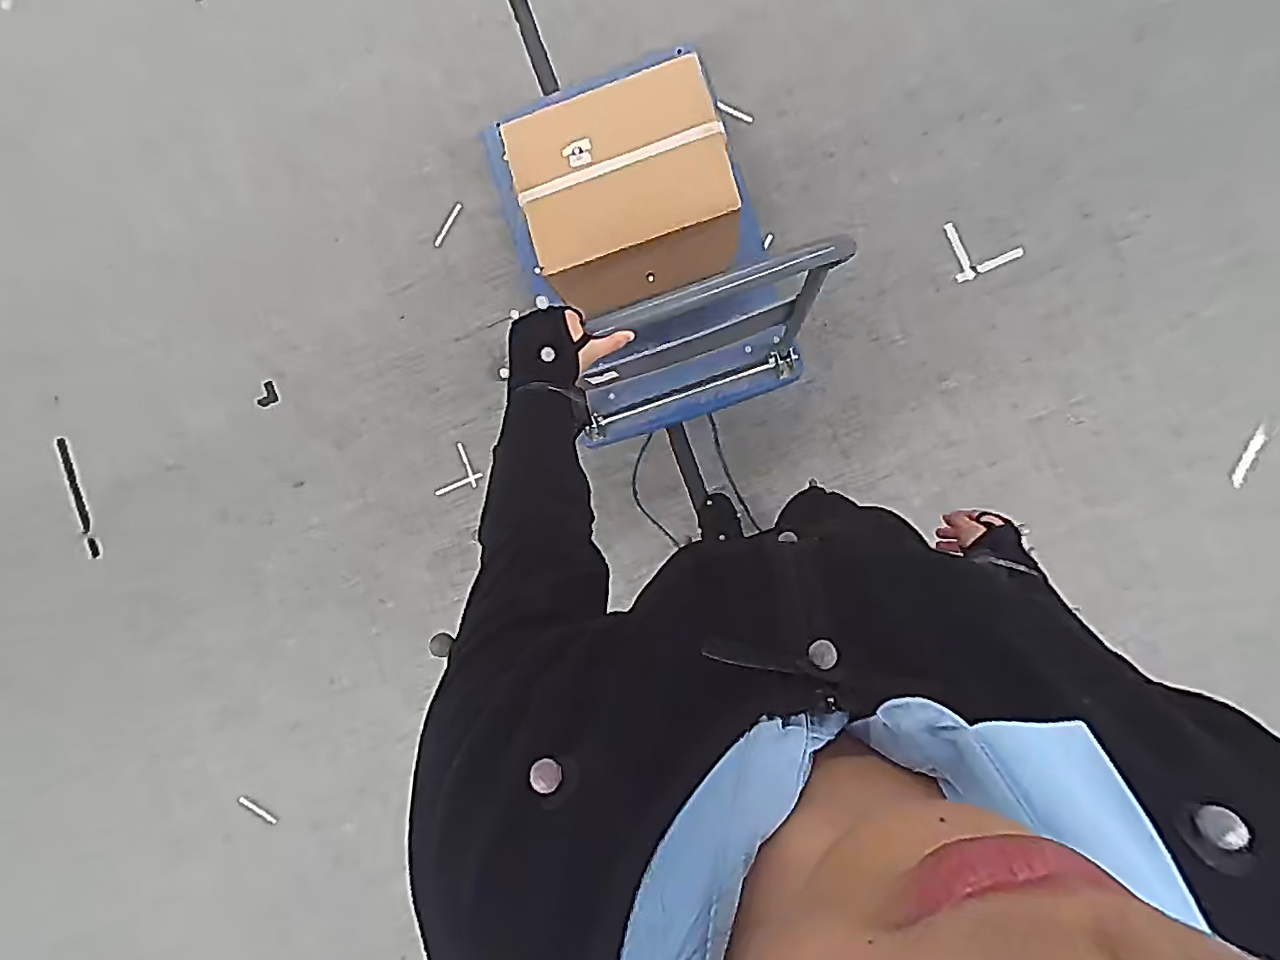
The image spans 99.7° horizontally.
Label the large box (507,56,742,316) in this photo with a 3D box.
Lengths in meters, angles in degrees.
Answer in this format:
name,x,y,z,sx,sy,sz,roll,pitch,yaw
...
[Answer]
name,x,y,z,sx,sy,sz,roll,pitch,yaw
large box,-0.016,-0.609,1.198,0.408,0.320,0.320,-17,88,8
